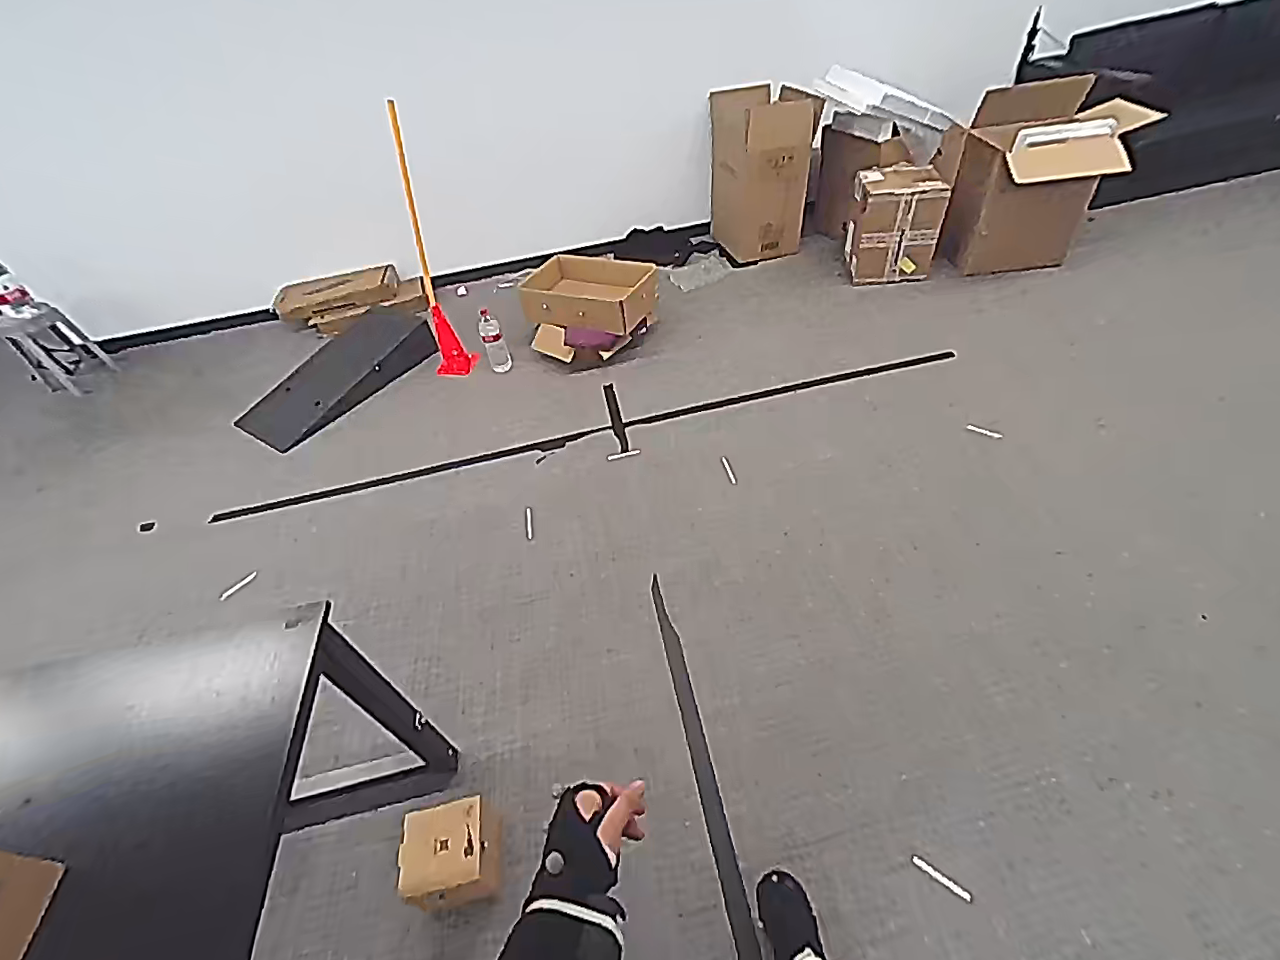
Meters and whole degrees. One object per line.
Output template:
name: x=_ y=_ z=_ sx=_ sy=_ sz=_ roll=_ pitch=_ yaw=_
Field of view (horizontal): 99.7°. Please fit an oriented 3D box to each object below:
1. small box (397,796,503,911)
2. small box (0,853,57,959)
small box: x=-0.427 y=0.860 z=1.240 sx=0.179 sy=0.176 sz=0.168 roll=-13 pitch=45 yaw=-3
small box: x=-0.830 y=0.532 z=0.599 sx=0.168 sy=0.176 sz=0.179 roll=-13 pitch=45 yaw=-2
